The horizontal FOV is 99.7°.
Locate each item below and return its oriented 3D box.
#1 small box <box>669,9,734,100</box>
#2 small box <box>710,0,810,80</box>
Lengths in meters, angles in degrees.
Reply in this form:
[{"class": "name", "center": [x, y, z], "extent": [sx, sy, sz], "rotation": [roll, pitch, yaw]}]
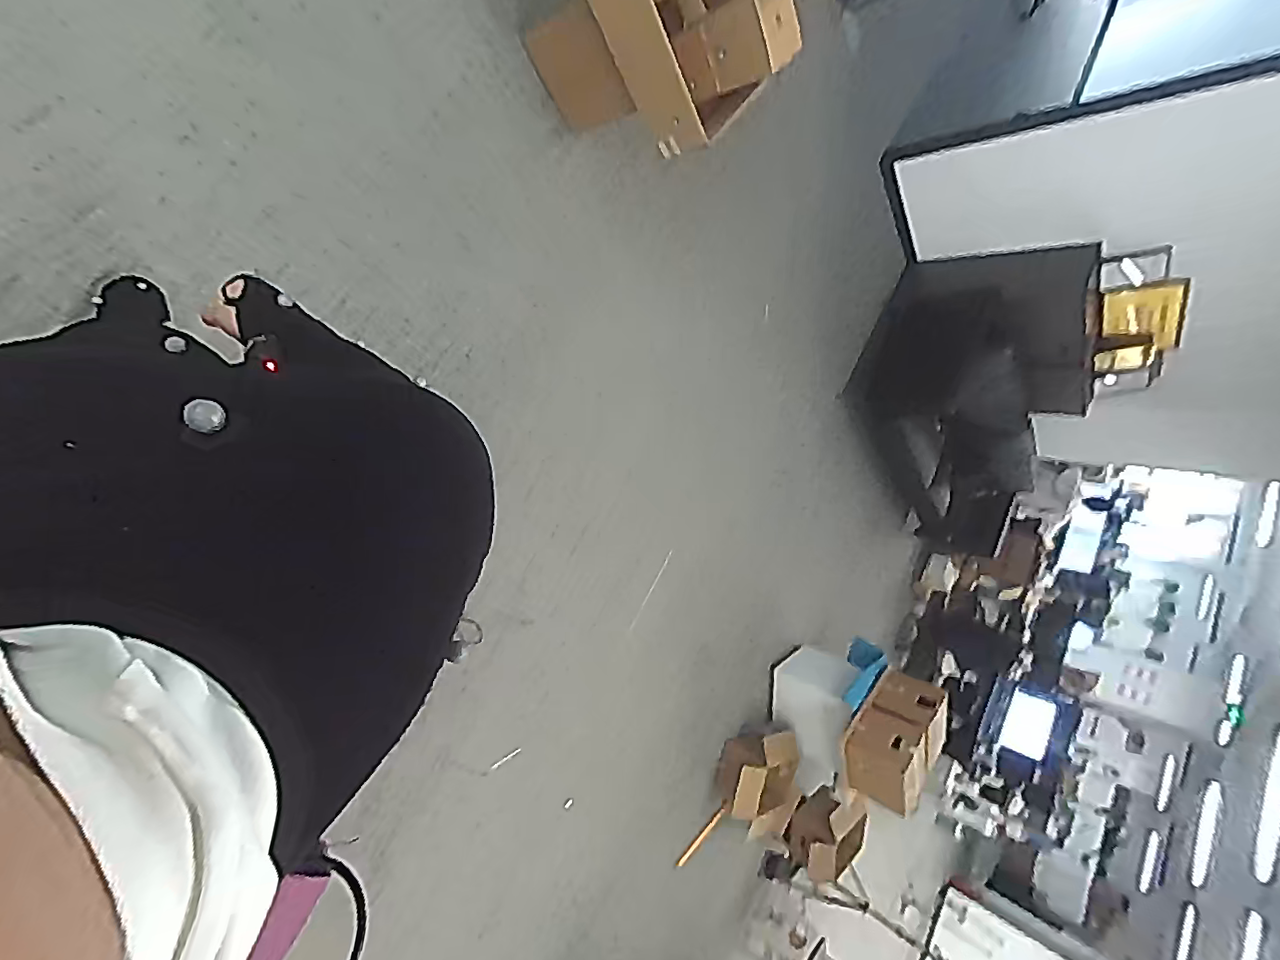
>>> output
[{"class": "small box", "center": [0.203, -1.214, 1.526], "extent": [0.179, 0.176, 0.168], "rotation": [-50, 131, -22]}, {"class": "small box", "center": [0.313, -1.181, 1.410], "extent": [0.168, 0.176, 0.179], "rotation": [-50, 132, -22]}]
